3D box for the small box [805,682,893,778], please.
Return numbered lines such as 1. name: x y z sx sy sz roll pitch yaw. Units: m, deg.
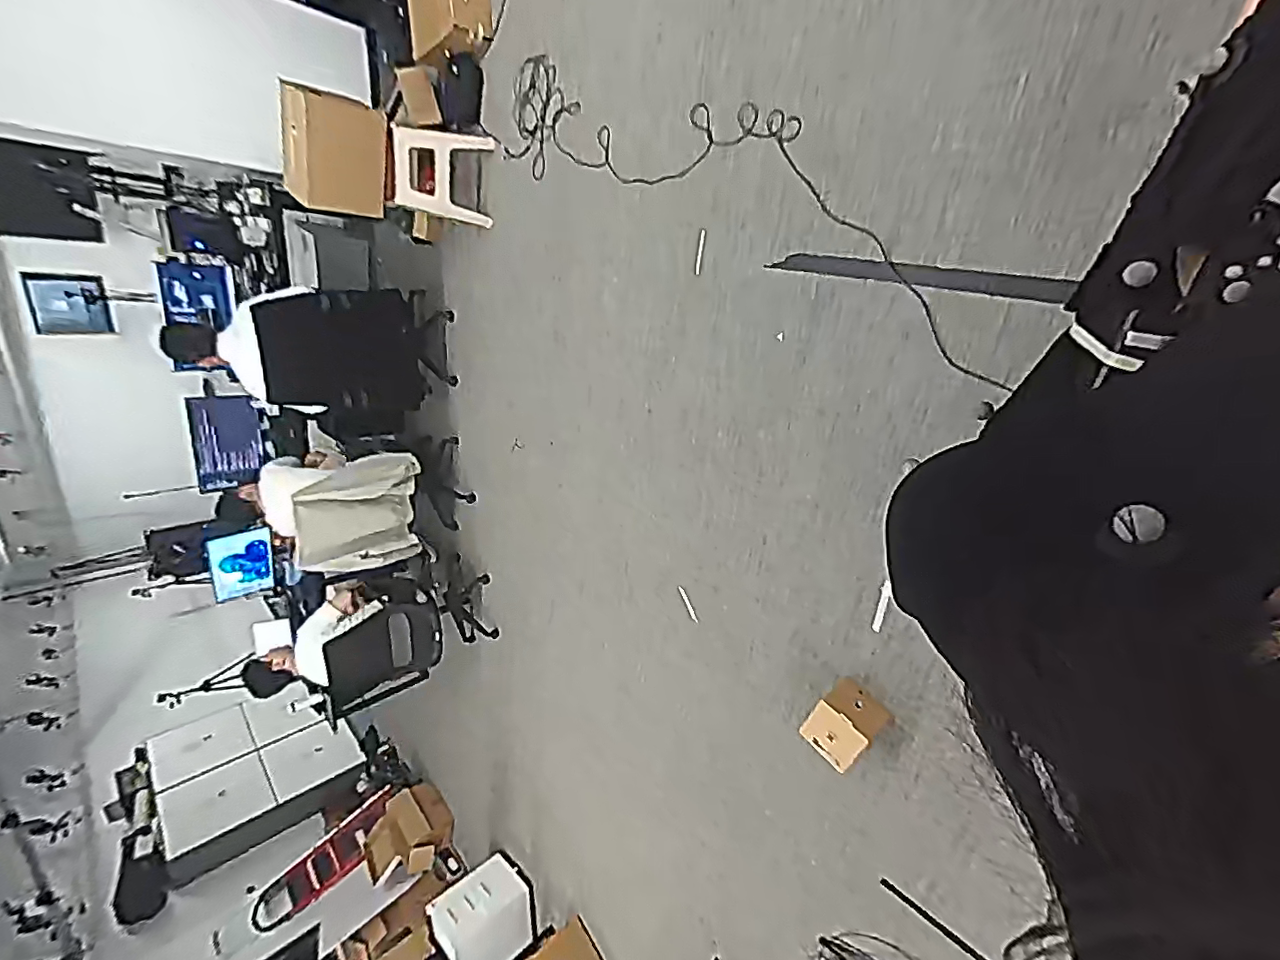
1. small box: 0.649 0.761 1.663 0.168 0.176 0.179 41 126 33
